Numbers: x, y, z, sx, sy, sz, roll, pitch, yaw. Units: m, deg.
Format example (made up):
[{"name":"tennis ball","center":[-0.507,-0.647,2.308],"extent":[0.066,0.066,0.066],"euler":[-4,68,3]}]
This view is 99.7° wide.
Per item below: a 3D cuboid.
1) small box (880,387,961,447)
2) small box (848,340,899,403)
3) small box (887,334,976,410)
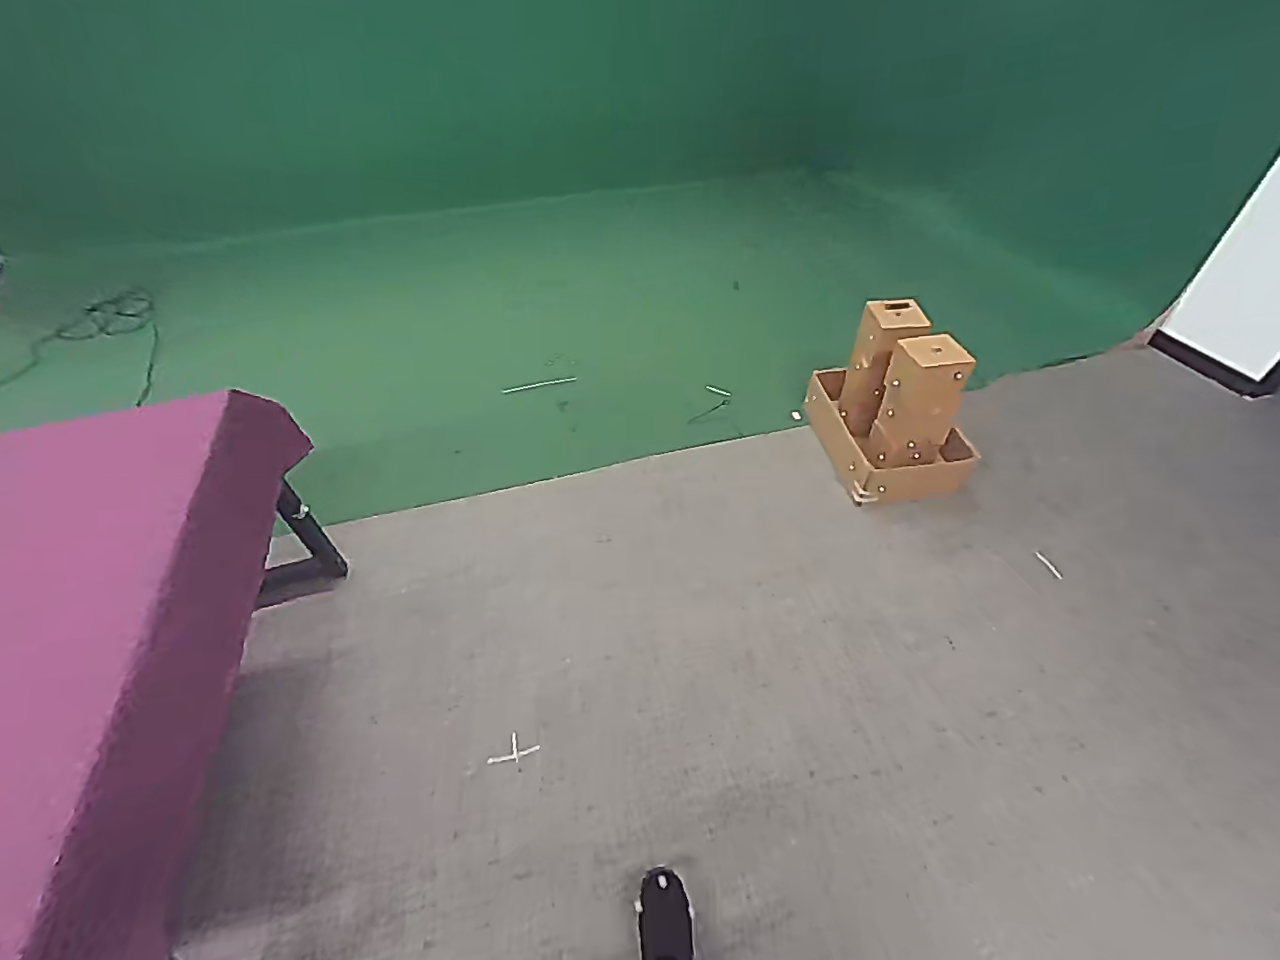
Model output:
[{"name":"small box","center":[0.955,-0.228,1.856],"extent":[0.168,0.176,0.179],"euler":[-8,44,-3]},{"name":"small box","center":[0.900,-0.410,2.044],"extent":[0.168,0.176,0.179],"euler":[0,48,5]},{"name":"small box","center":[0.931,-0.347,1.744],"extent":[0.179,0.176,0.168],"euler":[-8,44,-2]}]
